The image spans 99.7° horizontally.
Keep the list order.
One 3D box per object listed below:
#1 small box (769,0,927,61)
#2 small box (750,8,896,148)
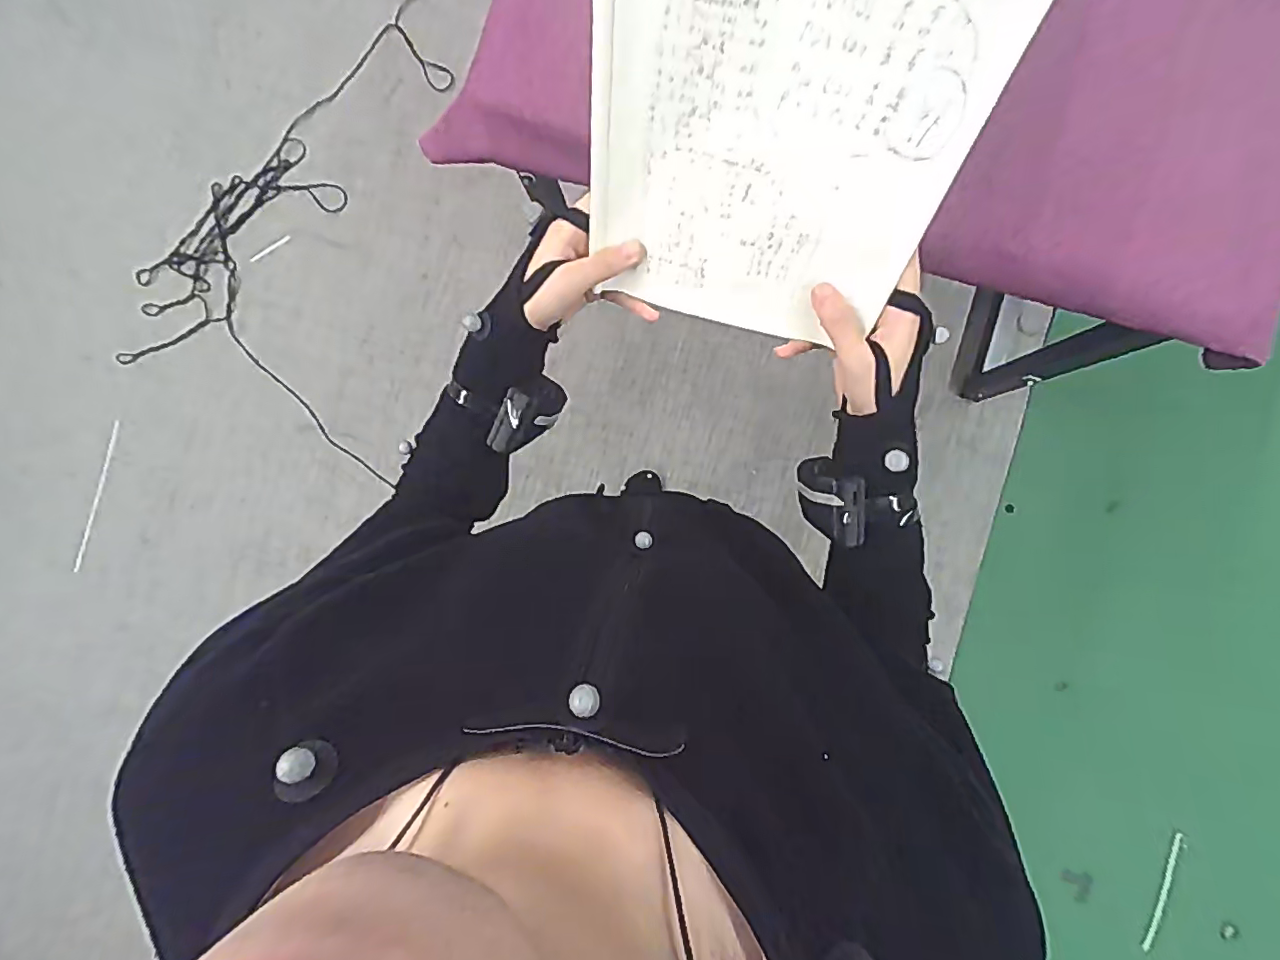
[{"bbox_3d":[0.242,-0.589,0.557,0.168,0.176,0.179,18,88,4],"label":"small box"},{"bbox_3d":[0.254,-0.589,0.722,0.168,0.176,0.179,18,90,4],"label":"small box"}]
